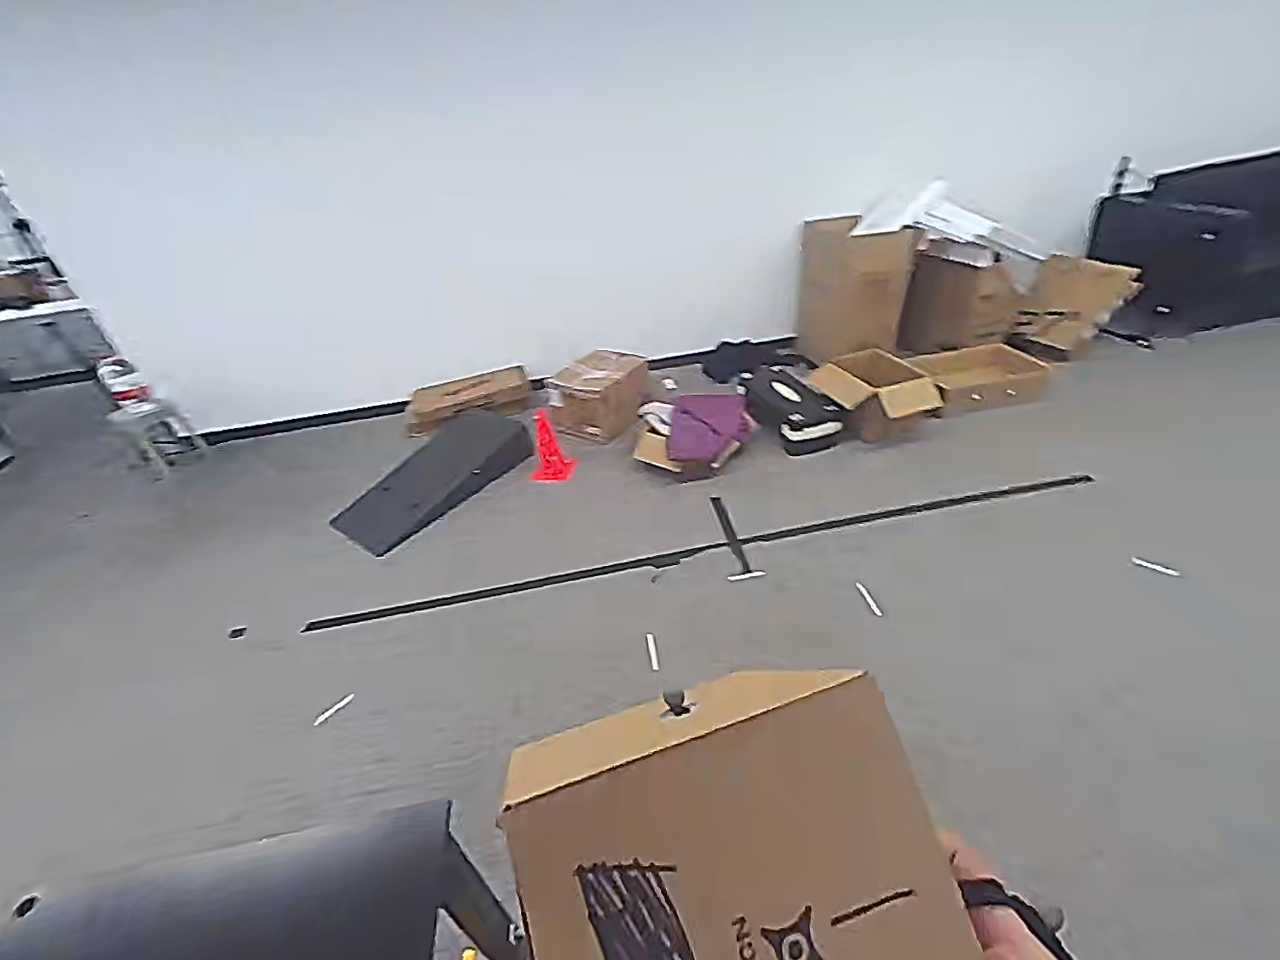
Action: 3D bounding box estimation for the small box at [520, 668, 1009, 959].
[{"bbox_3d":[0.043,0.206,0.279,0.179,0.176,0.168,-12,73,-16],"label":"small box"}]
